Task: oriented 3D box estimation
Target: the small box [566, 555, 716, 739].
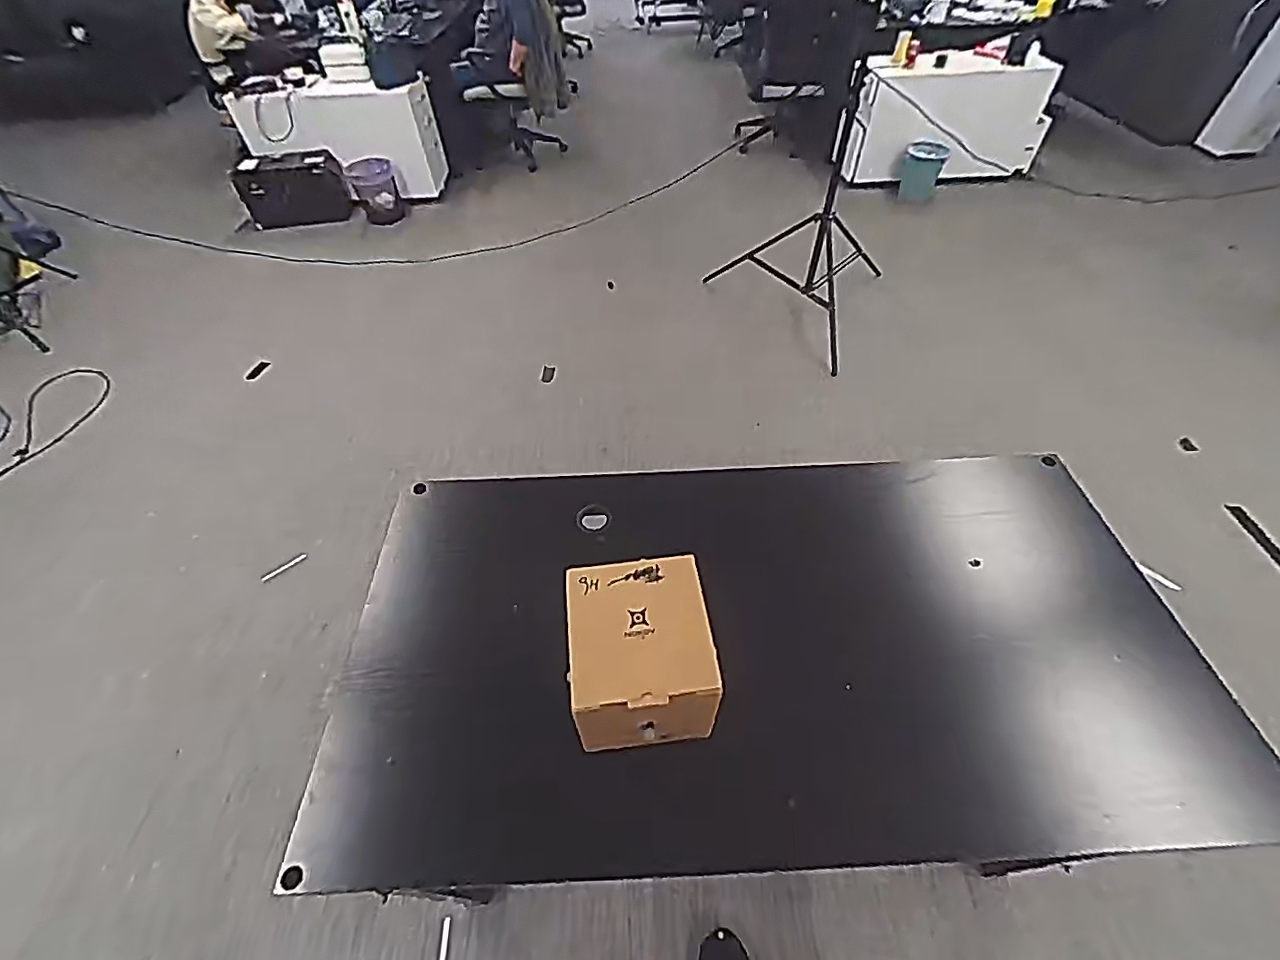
[{"bbox_3d":[-0.001,0.222,0.699,0.168,0.176,0.179,-6,50,-3],"label":"small box"}]
